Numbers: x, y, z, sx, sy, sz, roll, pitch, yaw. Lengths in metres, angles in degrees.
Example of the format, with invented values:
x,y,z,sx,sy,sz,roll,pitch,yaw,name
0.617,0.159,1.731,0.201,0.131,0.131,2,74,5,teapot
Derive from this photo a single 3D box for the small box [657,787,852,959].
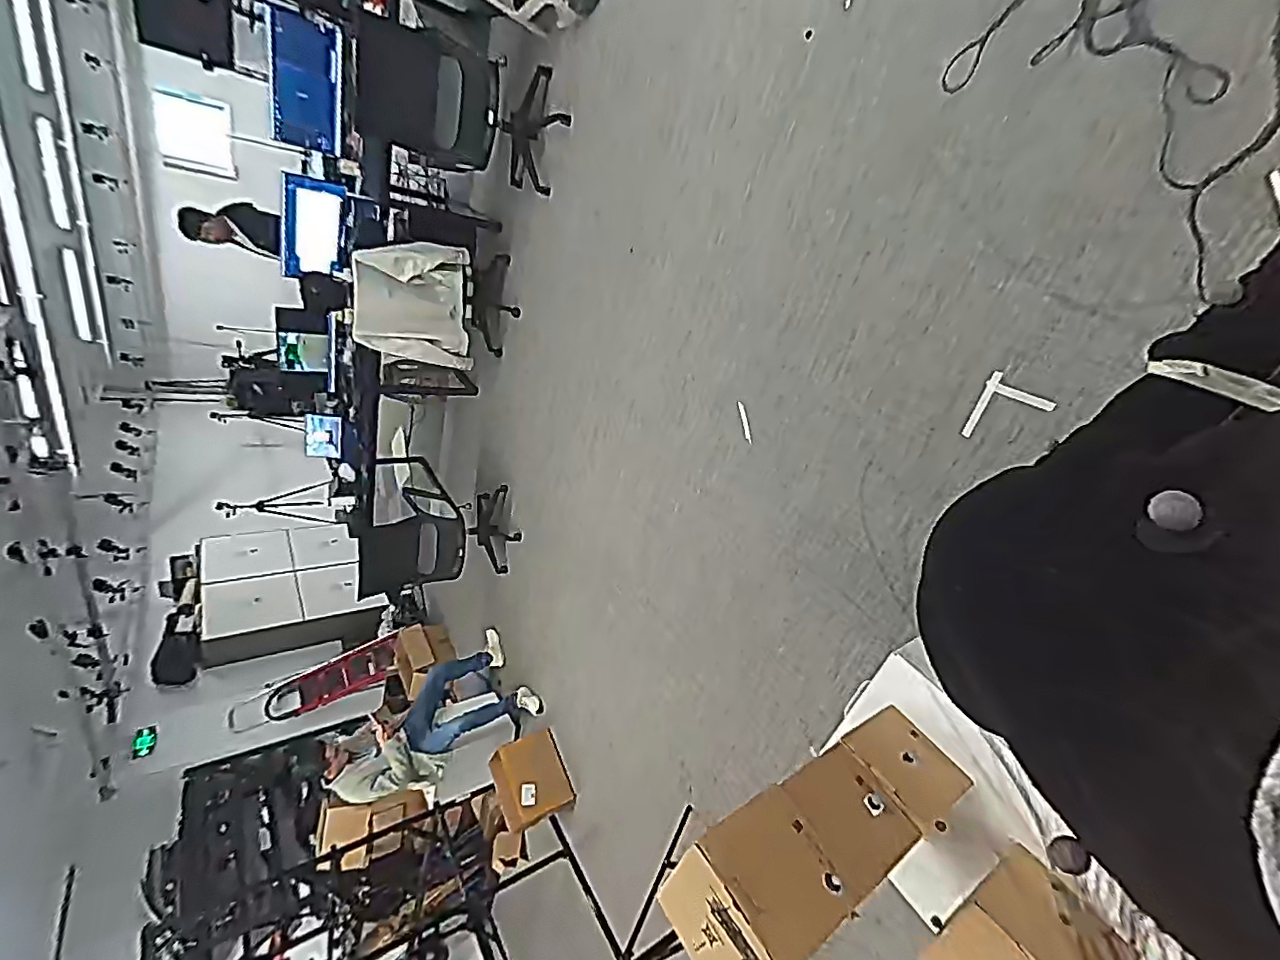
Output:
x,y,z,sx,sy,sz,roll,pitch,yaw,name
0.155,0.562,0.734,0.168,0.176,0.179,46,130,38,small box

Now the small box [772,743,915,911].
x,y,z,sx,sy,sz,roll,pitch,yaw,name
0.285,0.551,0.835,0.168,0.176,0.179,44,127,38,small box

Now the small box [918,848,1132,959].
x,y,z,sx,sy,sz,roll,pitch,yaw,name
0.549,0.683,0.774,0.168,0.176,0.179,42,126,42,small box
